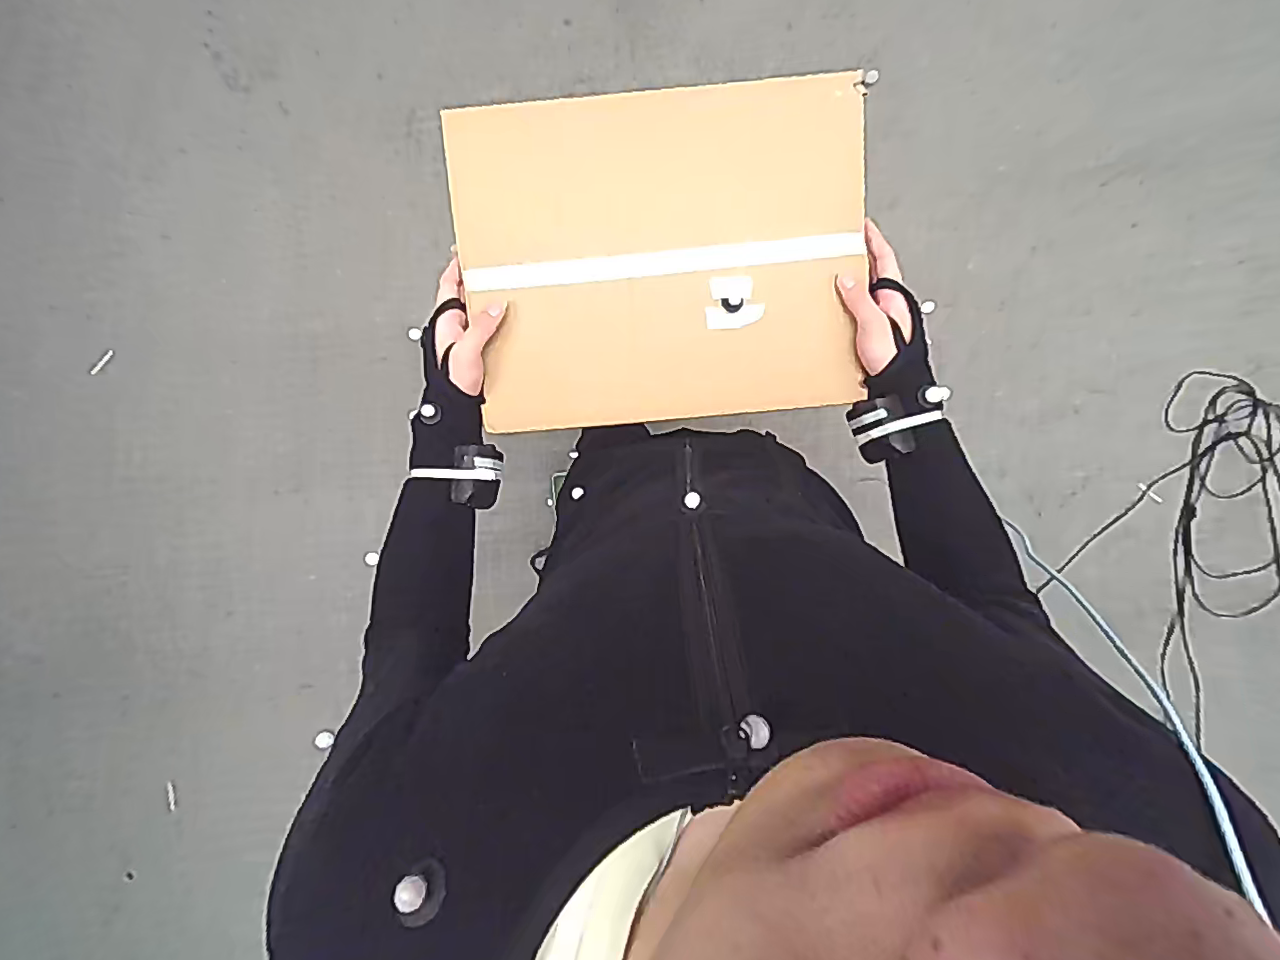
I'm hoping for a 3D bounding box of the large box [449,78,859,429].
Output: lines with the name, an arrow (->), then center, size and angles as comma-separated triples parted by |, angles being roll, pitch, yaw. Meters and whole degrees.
large box -> 0.019, -0.247, 0.701 | 0.408, 0.320, 0.320 | -5, 100, 0
